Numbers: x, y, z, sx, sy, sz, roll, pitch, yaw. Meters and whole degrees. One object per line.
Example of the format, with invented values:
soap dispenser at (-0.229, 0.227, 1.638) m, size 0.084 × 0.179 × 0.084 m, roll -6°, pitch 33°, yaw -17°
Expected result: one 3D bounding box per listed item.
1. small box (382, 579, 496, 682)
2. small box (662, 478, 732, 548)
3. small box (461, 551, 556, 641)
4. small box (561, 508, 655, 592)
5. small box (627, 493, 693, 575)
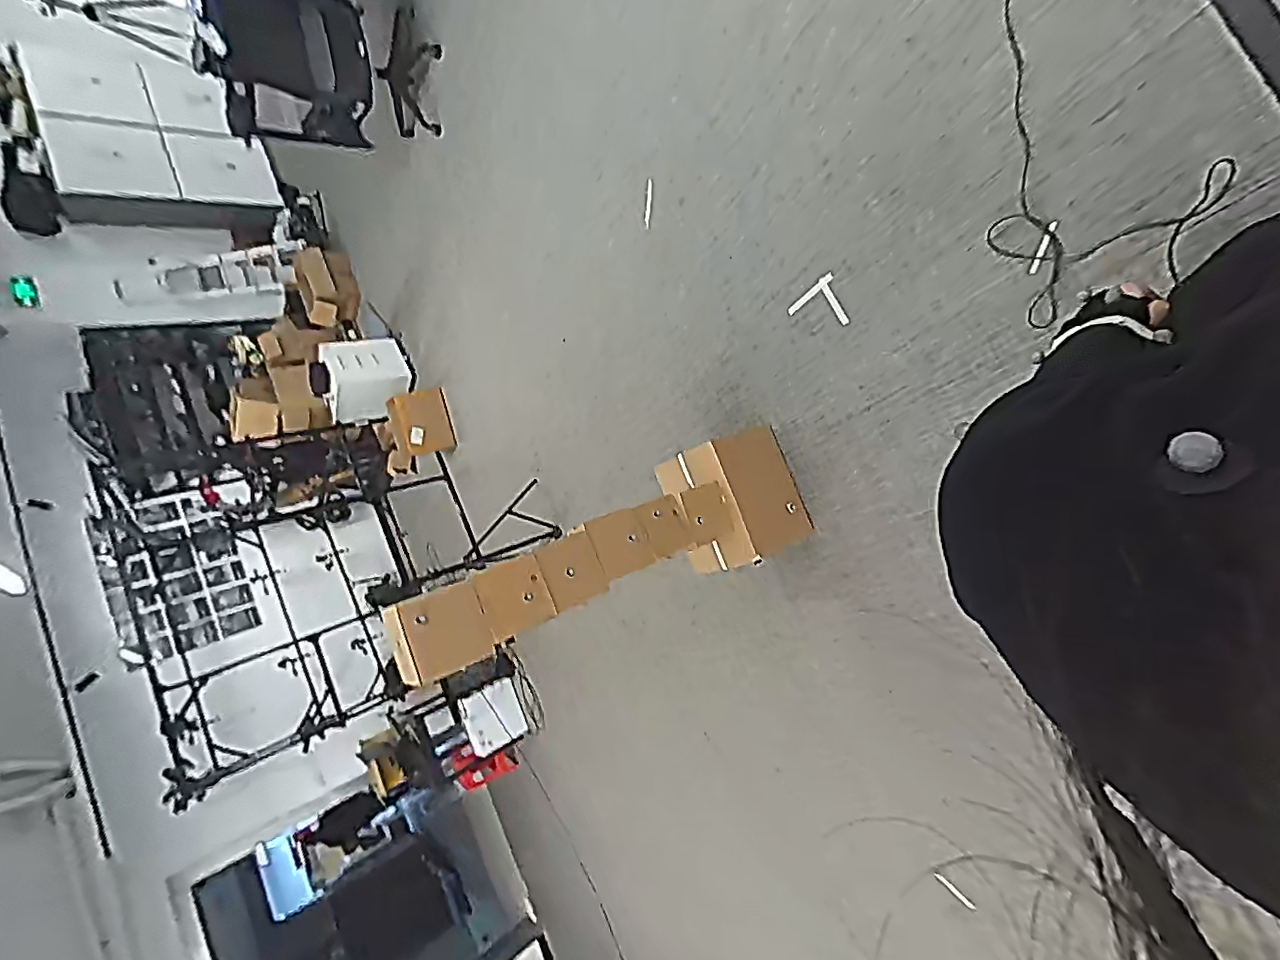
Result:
small box at (-0.450, 0.330, 1.211) m, size 0.168 × 0.176 × 0.179 m, roll -24°, pitch 85°, yaw 52°
small box at (0.163, 0.108, 1.704) m, size 0.168 × 0.176 × 0.179 m, roll -21°, pitch 87°, yaw 52°
small box at (-0.329, 0.288, 1.314) m, size 0.179 × 0.176 × 0.168 m, roll -32°, pitch 79°, yaw 51°
small box at (-0.090, 0.190, 1.516) m, size 0.168 × 0.176 × 0.179 m, roll -36°, pitch 75°, yaw 51°
small box at (0.034, 0.158, 1.617) m, size 0.168 × 0.176 × 0.179 m, roll 62°, pitch 142°, yaw 14°
